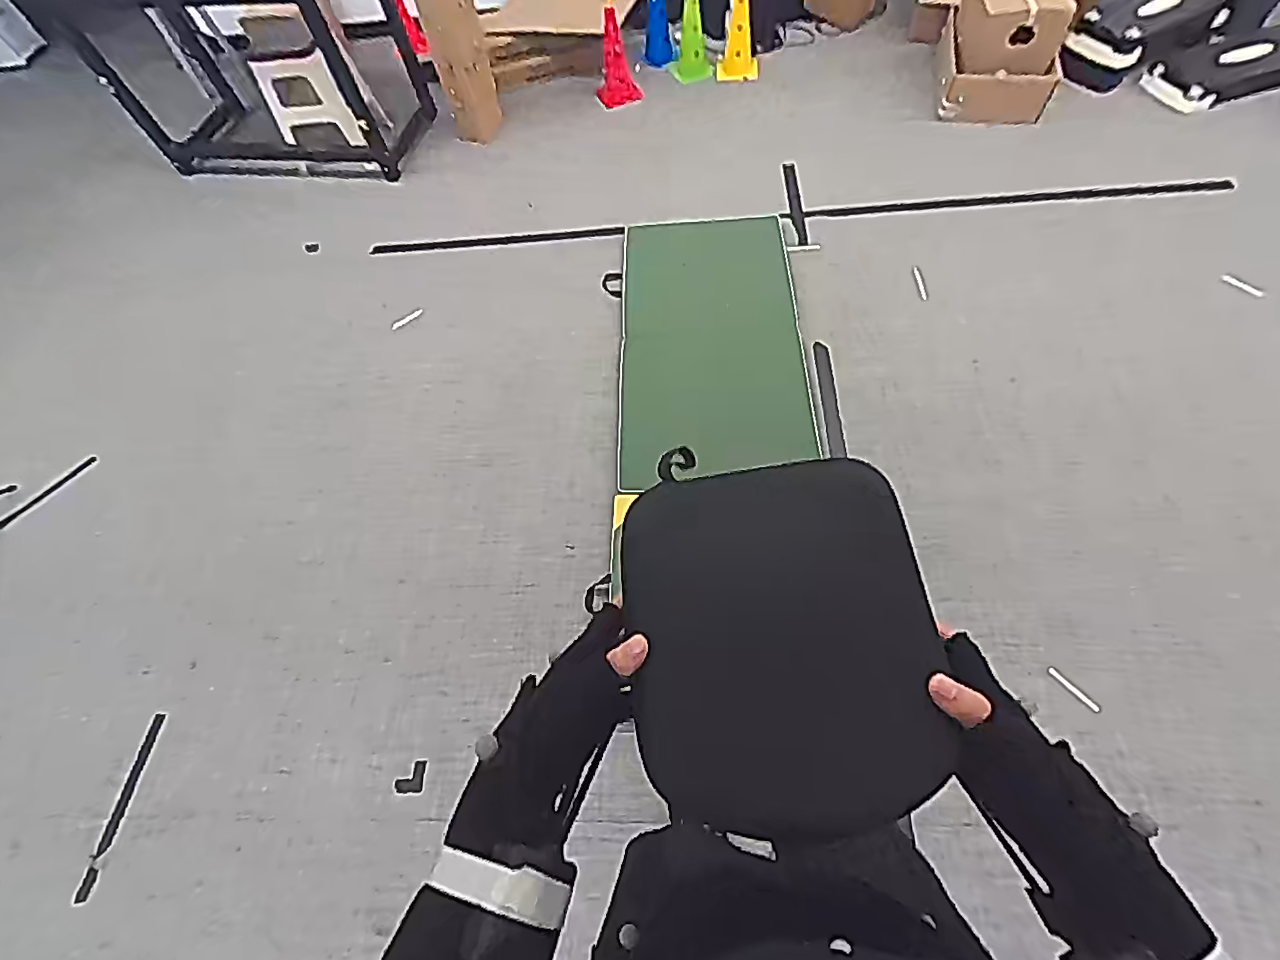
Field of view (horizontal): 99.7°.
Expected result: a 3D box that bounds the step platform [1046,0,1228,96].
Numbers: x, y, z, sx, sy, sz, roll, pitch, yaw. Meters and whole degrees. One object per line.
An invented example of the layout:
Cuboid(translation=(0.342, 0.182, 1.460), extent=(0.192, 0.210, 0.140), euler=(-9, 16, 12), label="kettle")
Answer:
Cuboid(translation=(2.190, -1.961, 2.388), extent=(0.684, 0.204, 0.286), euler=(-28, 63, -9), label="step platform")
